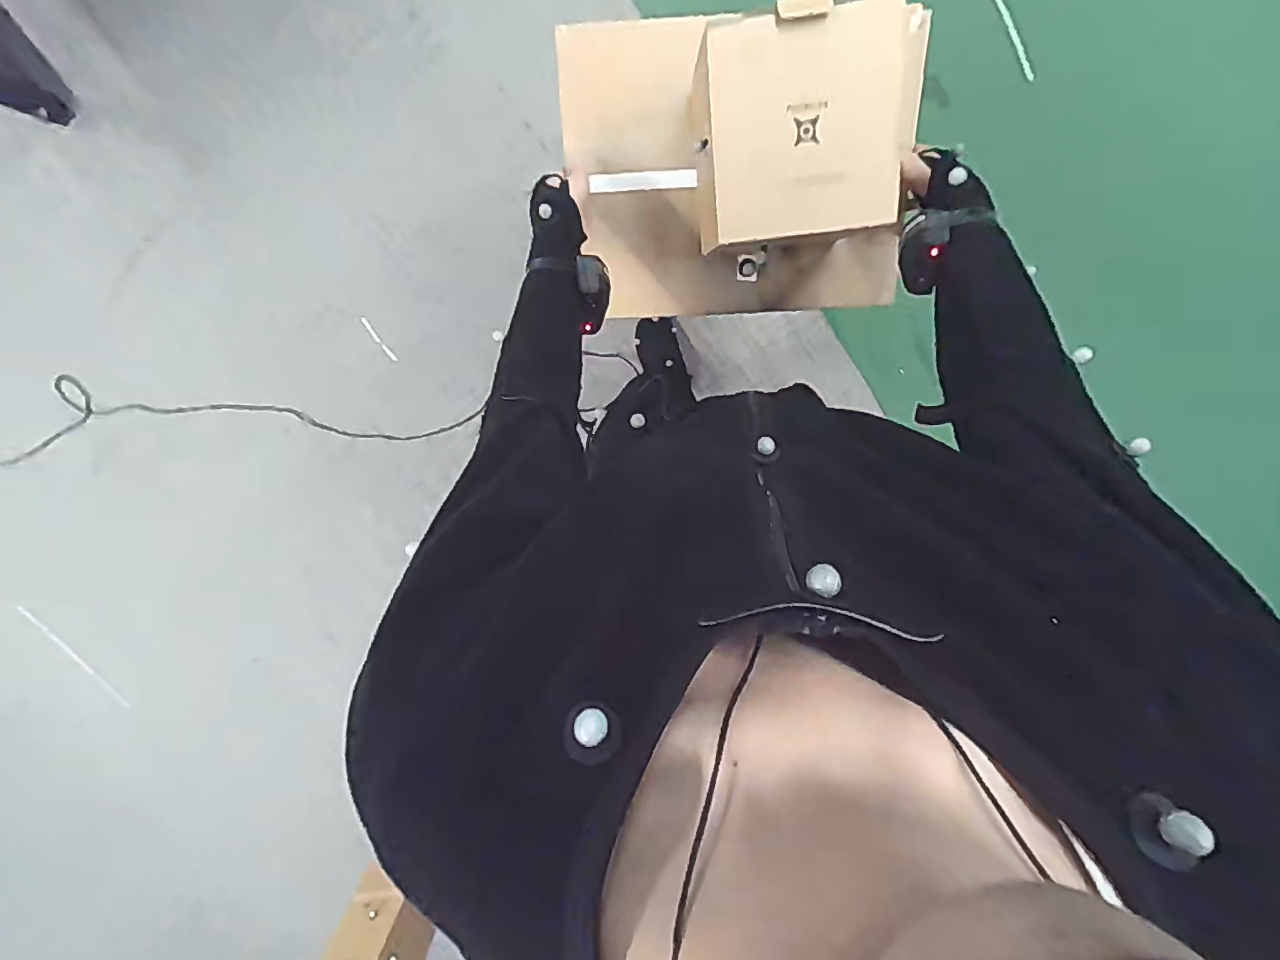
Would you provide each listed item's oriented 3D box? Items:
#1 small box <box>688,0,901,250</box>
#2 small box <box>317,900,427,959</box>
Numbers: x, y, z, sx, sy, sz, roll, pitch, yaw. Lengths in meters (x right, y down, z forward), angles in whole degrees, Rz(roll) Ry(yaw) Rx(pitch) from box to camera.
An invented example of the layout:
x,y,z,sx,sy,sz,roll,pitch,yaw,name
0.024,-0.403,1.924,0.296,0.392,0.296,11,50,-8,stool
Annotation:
x,y,z,sx,sy,sz,roll,pitch,yaw,name
0.140,-0.341,0.539,0.168,0.176,0.179,-6,107,4,small box
-0.632,1.141,1.270,0.168,0.176,0.179,-15,103,6,small box
